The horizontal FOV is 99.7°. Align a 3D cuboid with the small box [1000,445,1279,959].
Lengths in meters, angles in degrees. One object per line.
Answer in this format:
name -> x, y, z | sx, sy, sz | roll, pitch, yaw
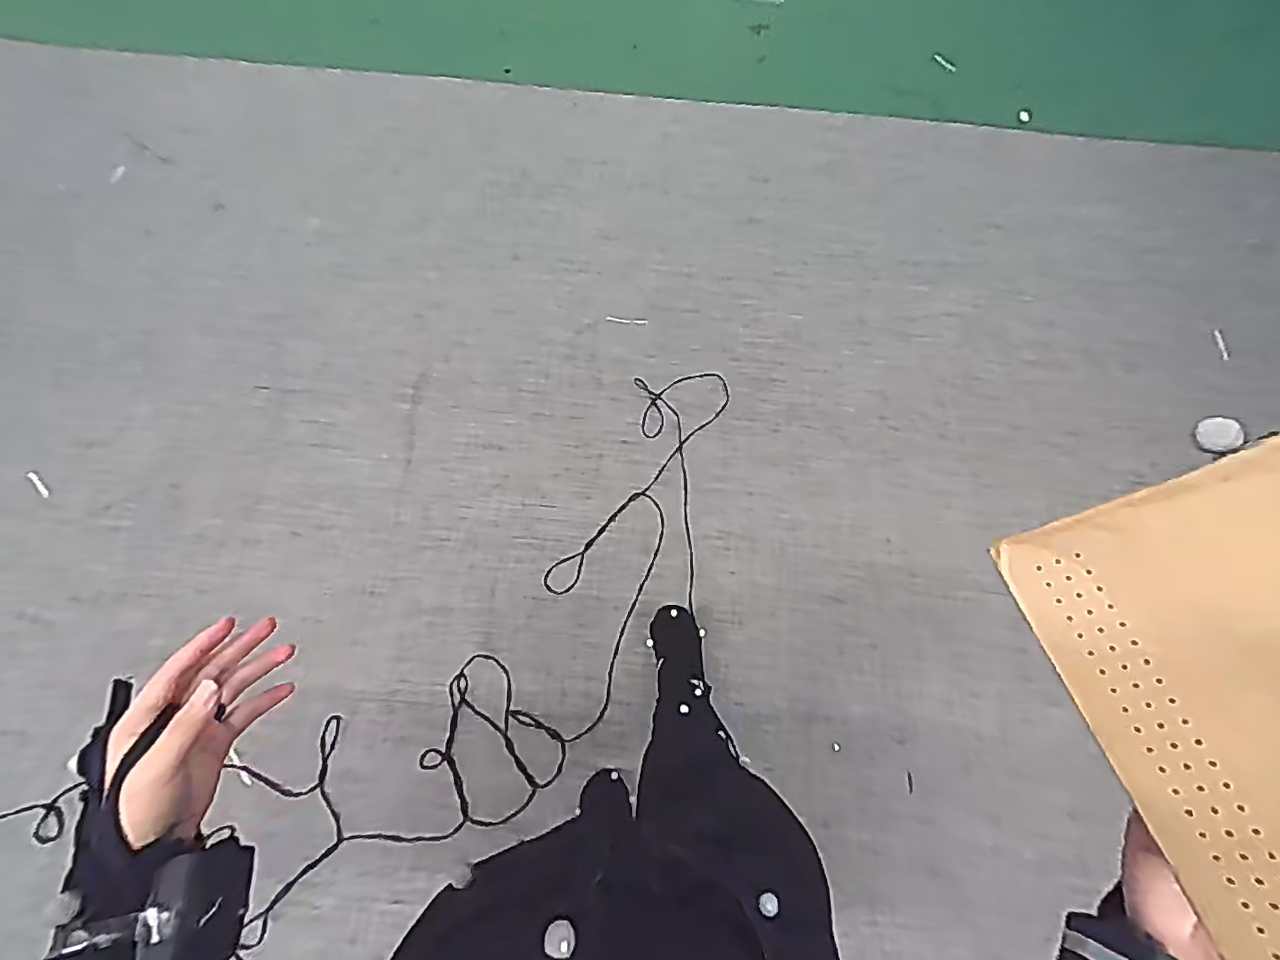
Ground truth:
small box -> 0.274, 0.070, 0.193 | 0.168, 0.176, 0.179 | -2, 62, -42
